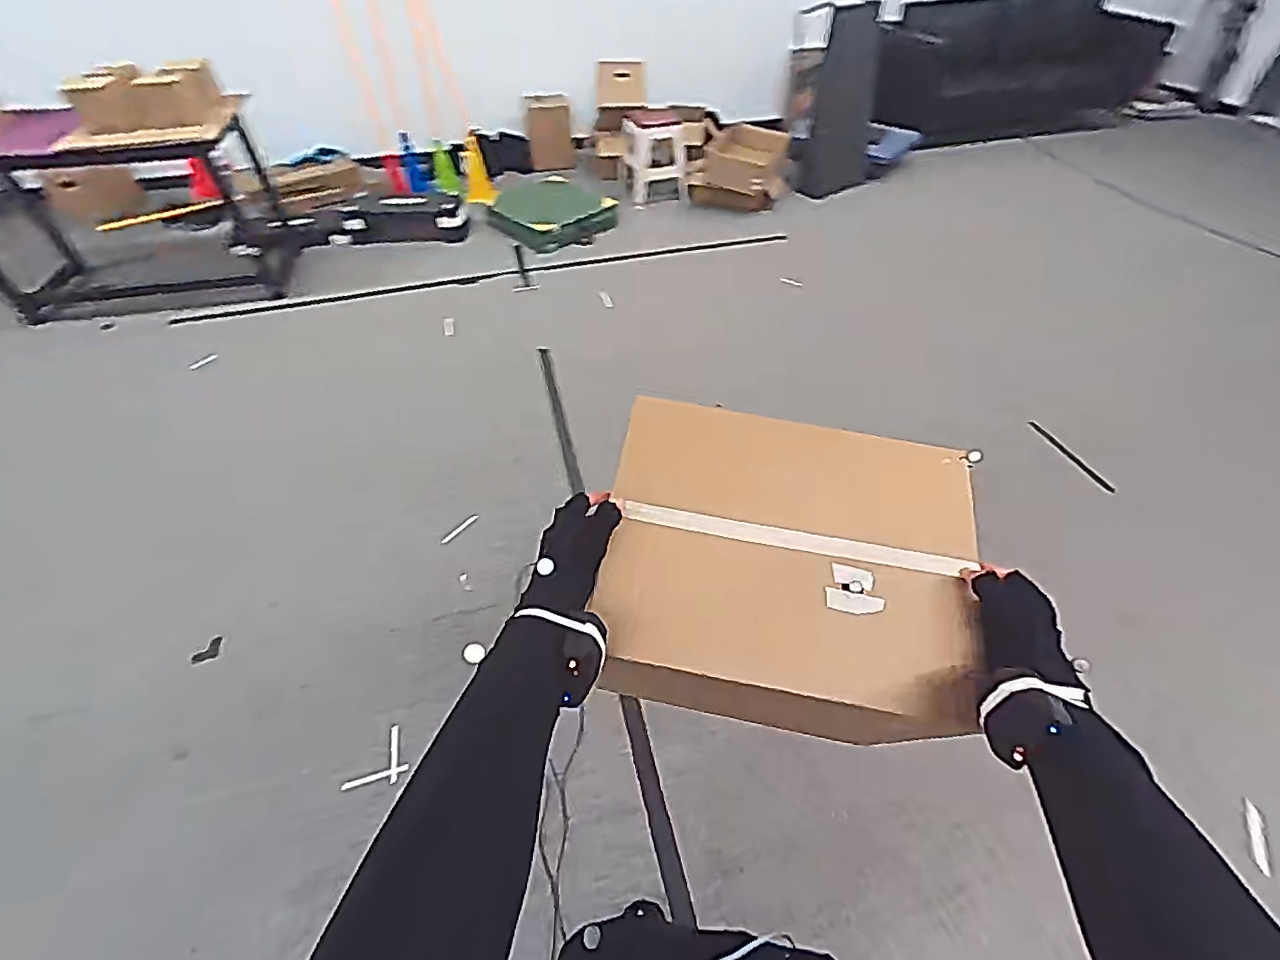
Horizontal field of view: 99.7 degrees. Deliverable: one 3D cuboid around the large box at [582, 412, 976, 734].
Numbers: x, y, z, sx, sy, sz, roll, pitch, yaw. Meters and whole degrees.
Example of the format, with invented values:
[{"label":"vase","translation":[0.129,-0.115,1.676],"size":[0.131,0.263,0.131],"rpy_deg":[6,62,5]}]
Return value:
[{"label":"large box","translation":[0.151,0.142,0.737],"size":[0.408,0.320,0.320],"rpy_deg":[9,63,3]}]
